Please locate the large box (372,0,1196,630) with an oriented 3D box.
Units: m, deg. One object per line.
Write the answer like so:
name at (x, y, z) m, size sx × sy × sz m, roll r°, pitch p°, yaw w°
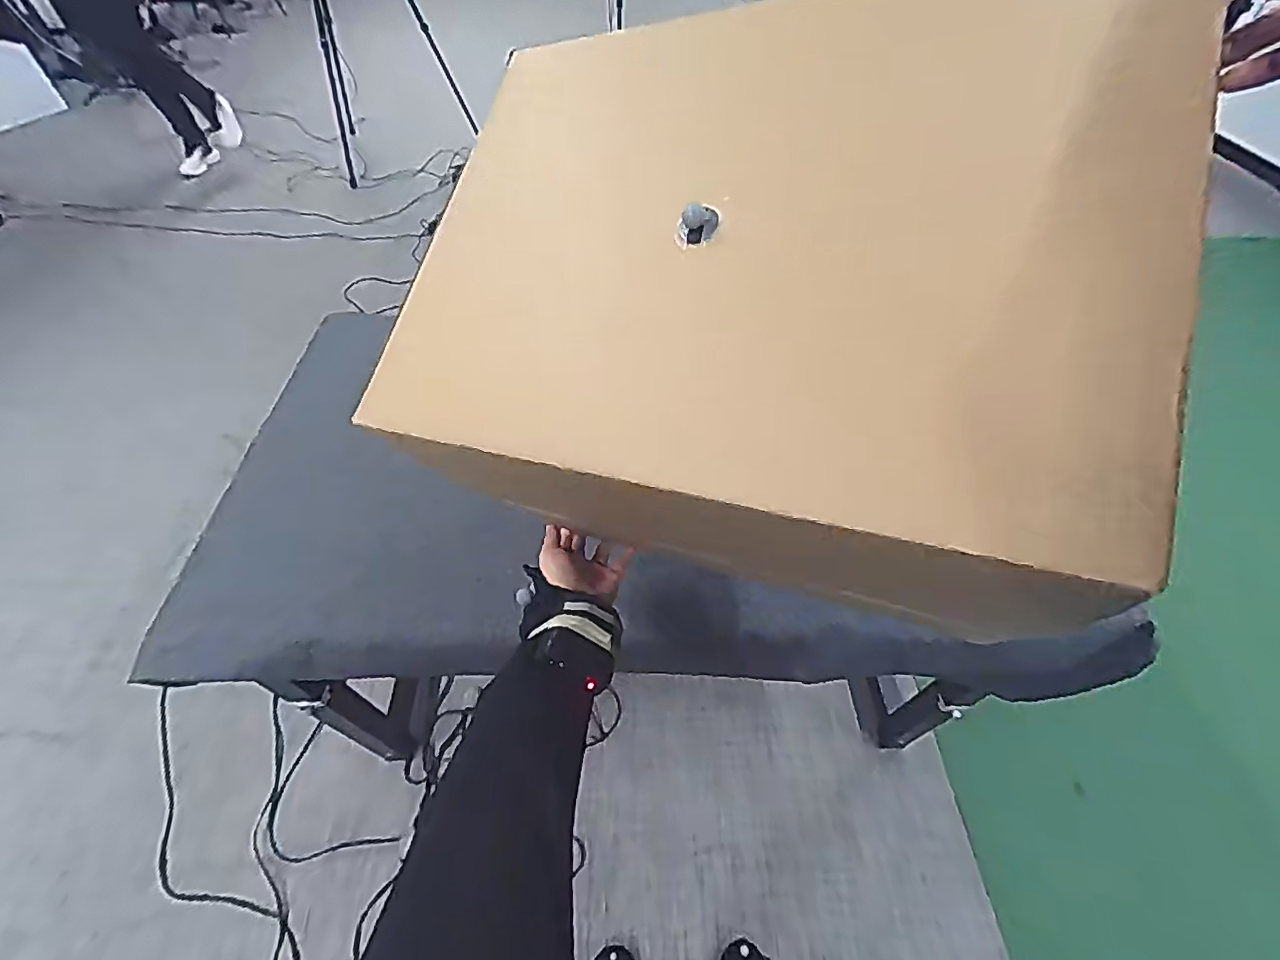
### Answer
large box at (0.091, -0.089, 0.430) m, size 0.408 × 0.320 × 0.320 m, roll 11°, pitch 76°, yaw 24°
